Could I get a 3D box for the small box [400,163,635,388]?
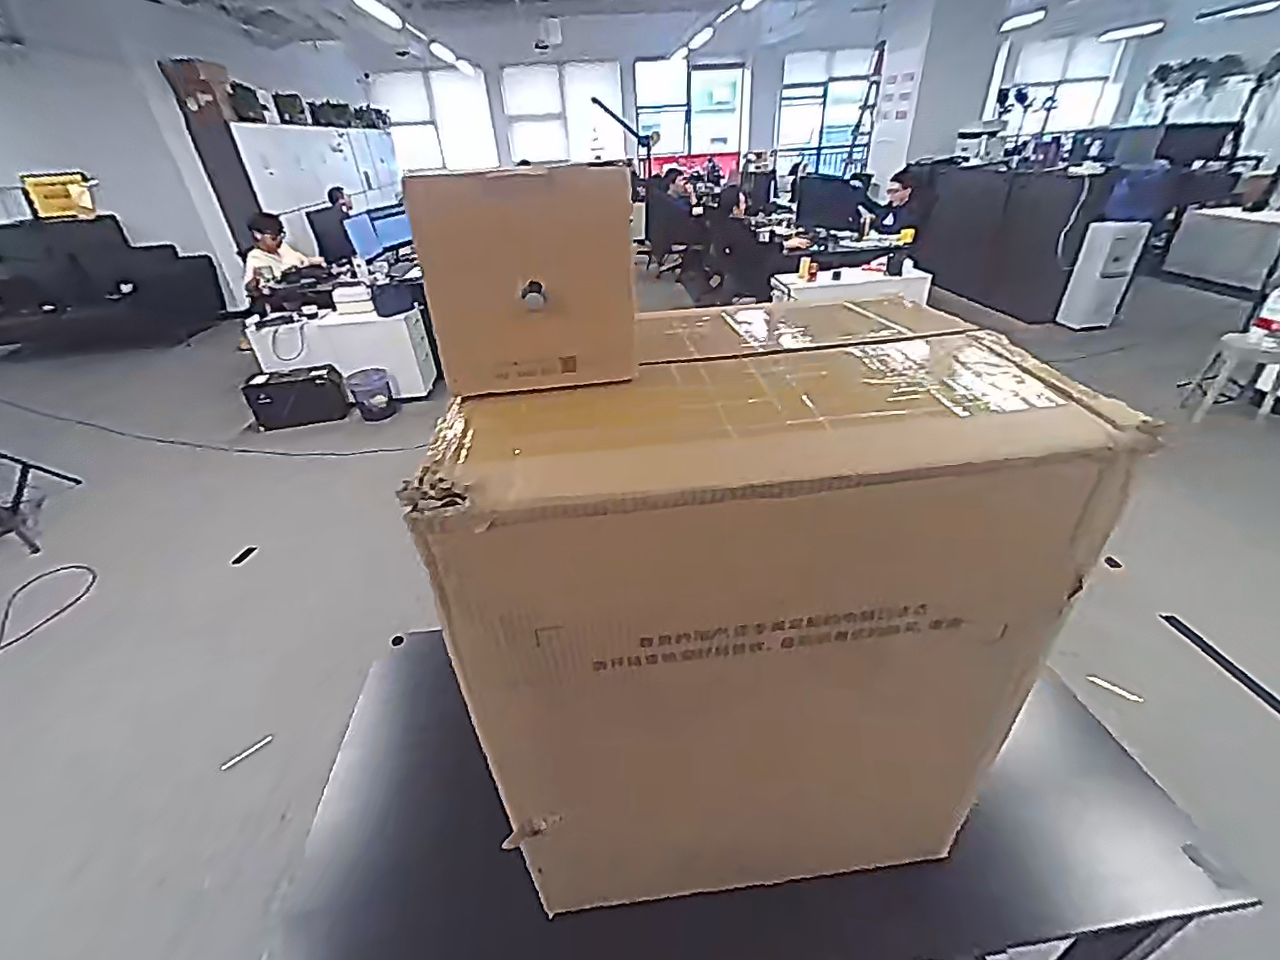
[{"bbox_3d":[-0.100,-0.190,0.503,0.168,0.176,0.179,-7,31,-7],"label":"small box"}]
